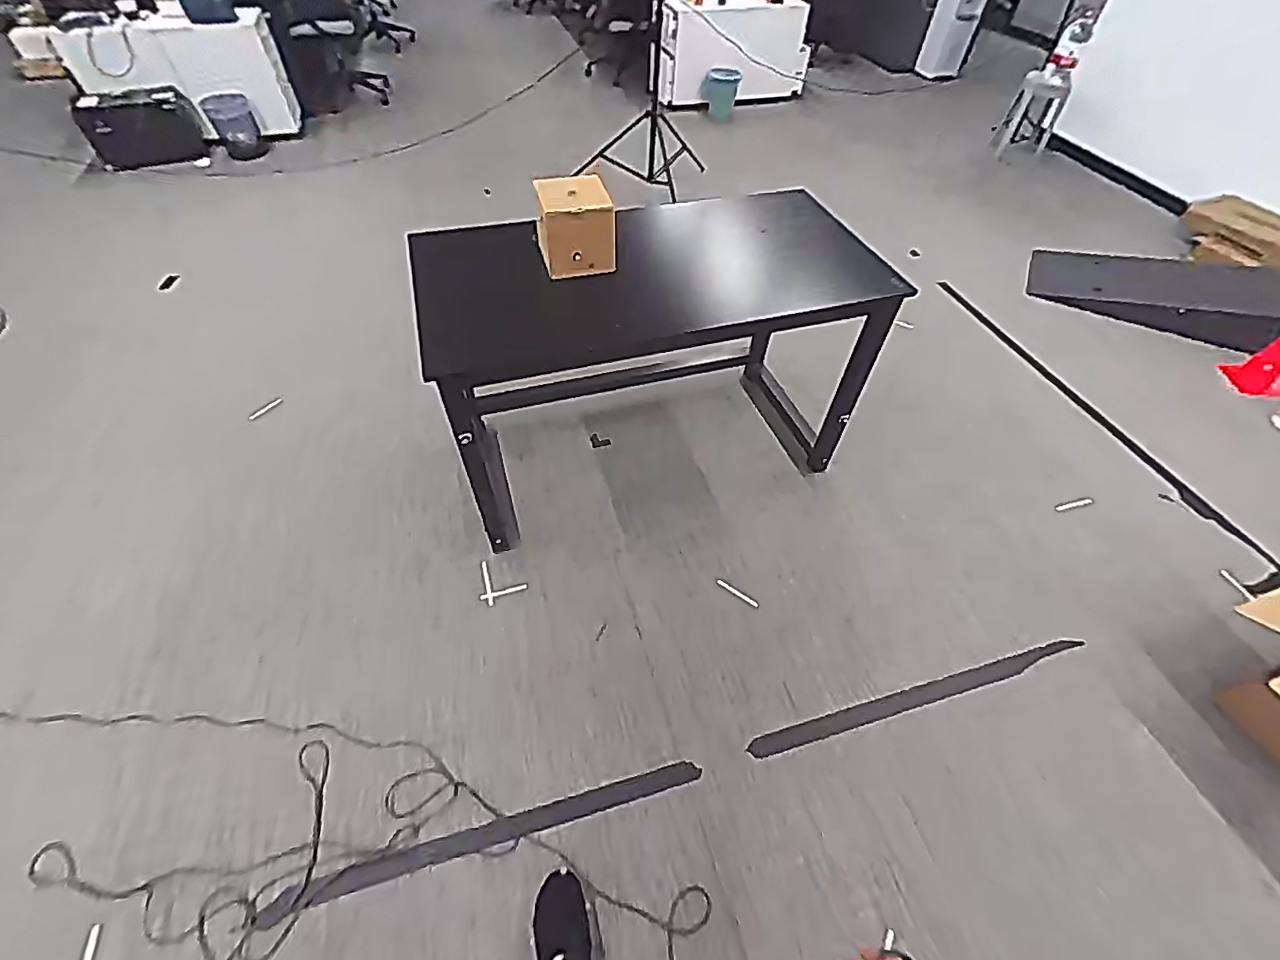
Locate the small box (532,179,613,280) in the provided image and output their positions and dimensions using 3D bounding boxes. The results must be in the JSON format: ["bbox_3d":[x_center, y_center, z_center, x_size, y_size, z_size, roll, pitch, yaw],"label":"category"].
[{"bbox_3d":[-0.170,-0.629,1.361,0.168,0.176,0.179,-12,53,-12],"label":"small box"}]
